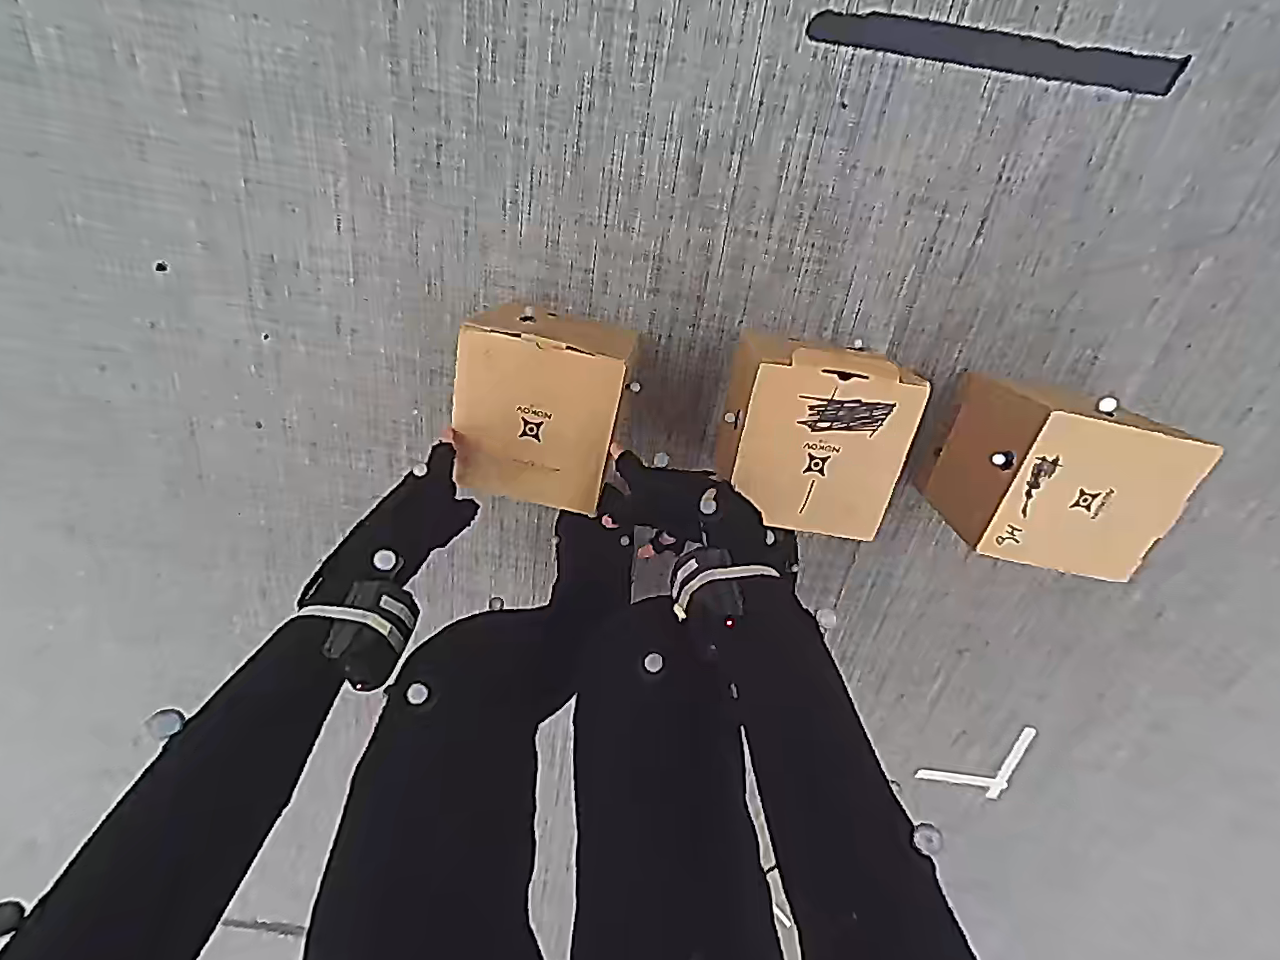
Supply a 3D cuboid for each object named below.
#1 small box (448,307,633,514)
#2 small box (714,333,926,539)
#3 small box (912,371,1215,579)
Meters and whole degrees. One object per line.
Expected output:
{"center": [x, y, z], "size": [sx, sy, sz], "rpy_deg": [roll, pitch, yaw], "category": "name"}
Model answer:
{"center": [-0.105, -0.090, 0.621], "size": [0.168, 0.176, 0.179], "rpy_deg": [12, 116, -1], "category": "small box"}
{"center": [0.182, -0.059, 0.613], "size": [0.168, 0.176, 0.179], "rpy_deg": [9, 115, 0], "category": "small box"}
{"center": [0.454, -0.015, 0.618], "size": [0.179, 0.176, 0.168], "rpy_deg": [12, 115, -3], "category": "small box"}
